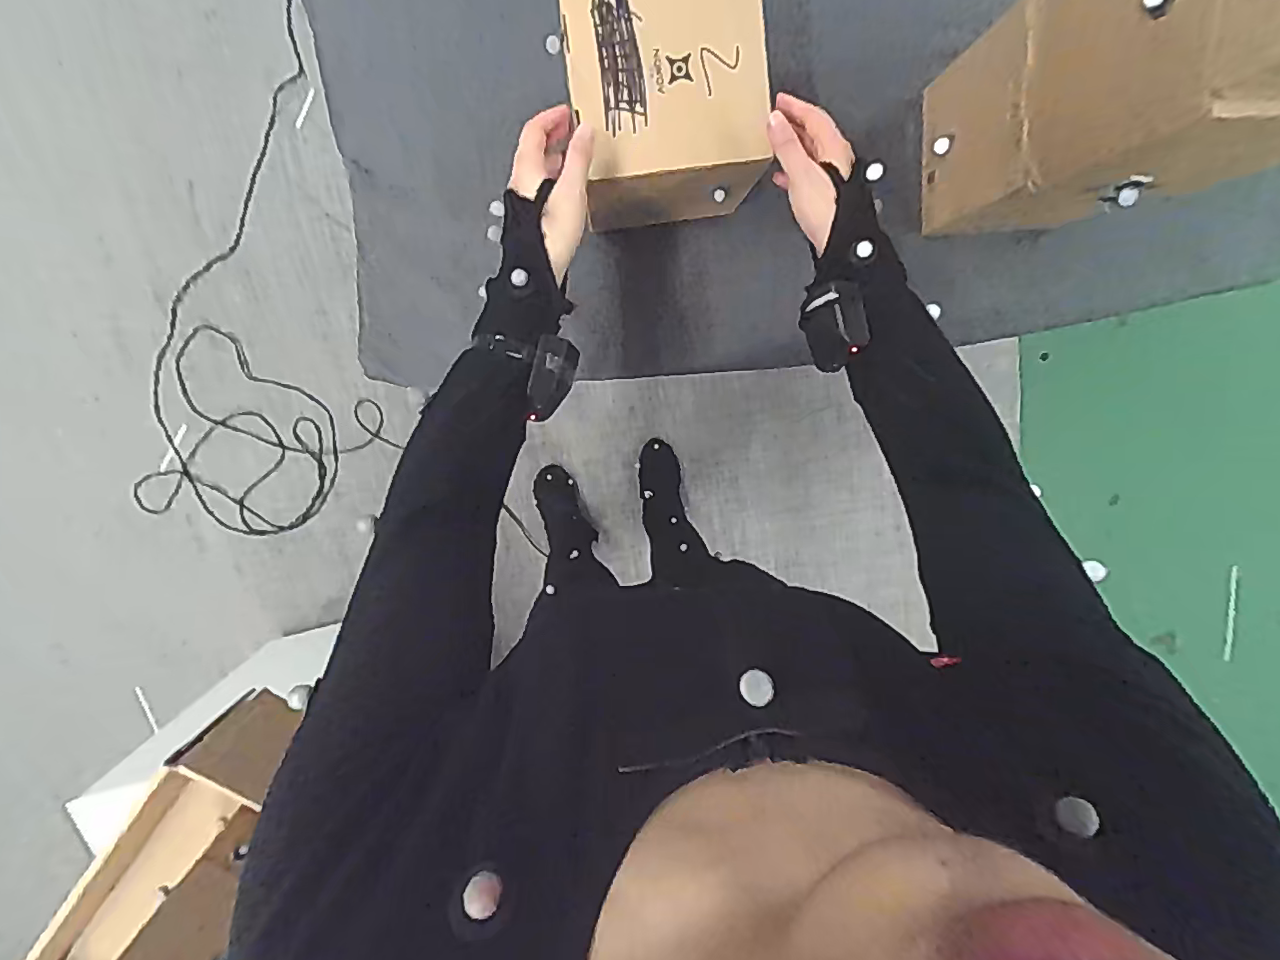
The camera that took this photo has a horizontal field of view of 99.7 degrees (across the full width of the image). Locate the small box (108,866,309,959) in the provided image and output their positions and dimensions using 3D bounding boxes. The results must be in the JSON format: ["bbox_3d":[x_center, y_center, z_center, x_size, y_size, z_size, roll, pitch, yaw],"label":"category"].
[{"bbox_3d":[-0.549,0.609,0.641,0.179,0.176,0.168,38,99,-12],"label":"small box"}]

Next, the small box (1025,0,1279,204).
[{"bbox_3d":[0.434,-0.331,0.412,0.168,0.176,0.179,-2,102,-1],"label":"small box"}]

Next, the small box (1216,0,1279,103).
[{"bbox_3d":[0.443,-0.303,0.251,0.179,0.176,0.168,-1,100,-1],"label":"small box"}]

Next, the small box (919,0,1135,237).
[{"bbox_3d":[0.428,-0.367,0.570,0.179,0.176,0.168,-4,100,-2],"label":"small box"}]
